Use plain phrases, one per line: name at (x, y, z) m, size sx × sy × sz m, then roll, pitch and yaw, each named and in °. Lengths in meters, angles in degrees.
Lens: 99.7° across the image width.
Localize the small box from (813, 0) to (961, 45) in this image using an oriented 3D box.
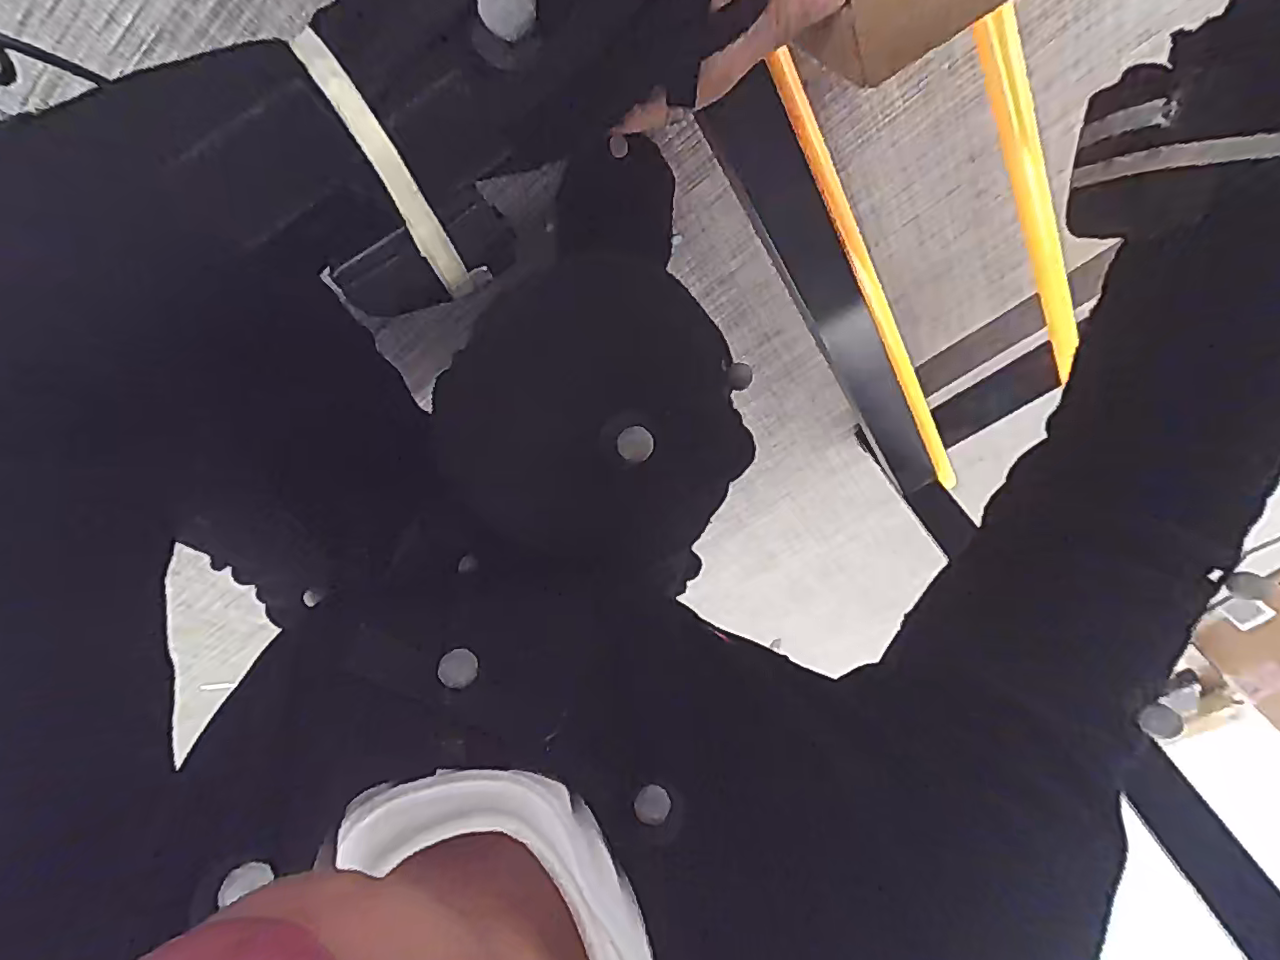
small box at (0.118, -0.307, 0.188) m, size 0.179 × 0.176 × 0.168 m, roll -26°, pitch 138°, yaw 16°
